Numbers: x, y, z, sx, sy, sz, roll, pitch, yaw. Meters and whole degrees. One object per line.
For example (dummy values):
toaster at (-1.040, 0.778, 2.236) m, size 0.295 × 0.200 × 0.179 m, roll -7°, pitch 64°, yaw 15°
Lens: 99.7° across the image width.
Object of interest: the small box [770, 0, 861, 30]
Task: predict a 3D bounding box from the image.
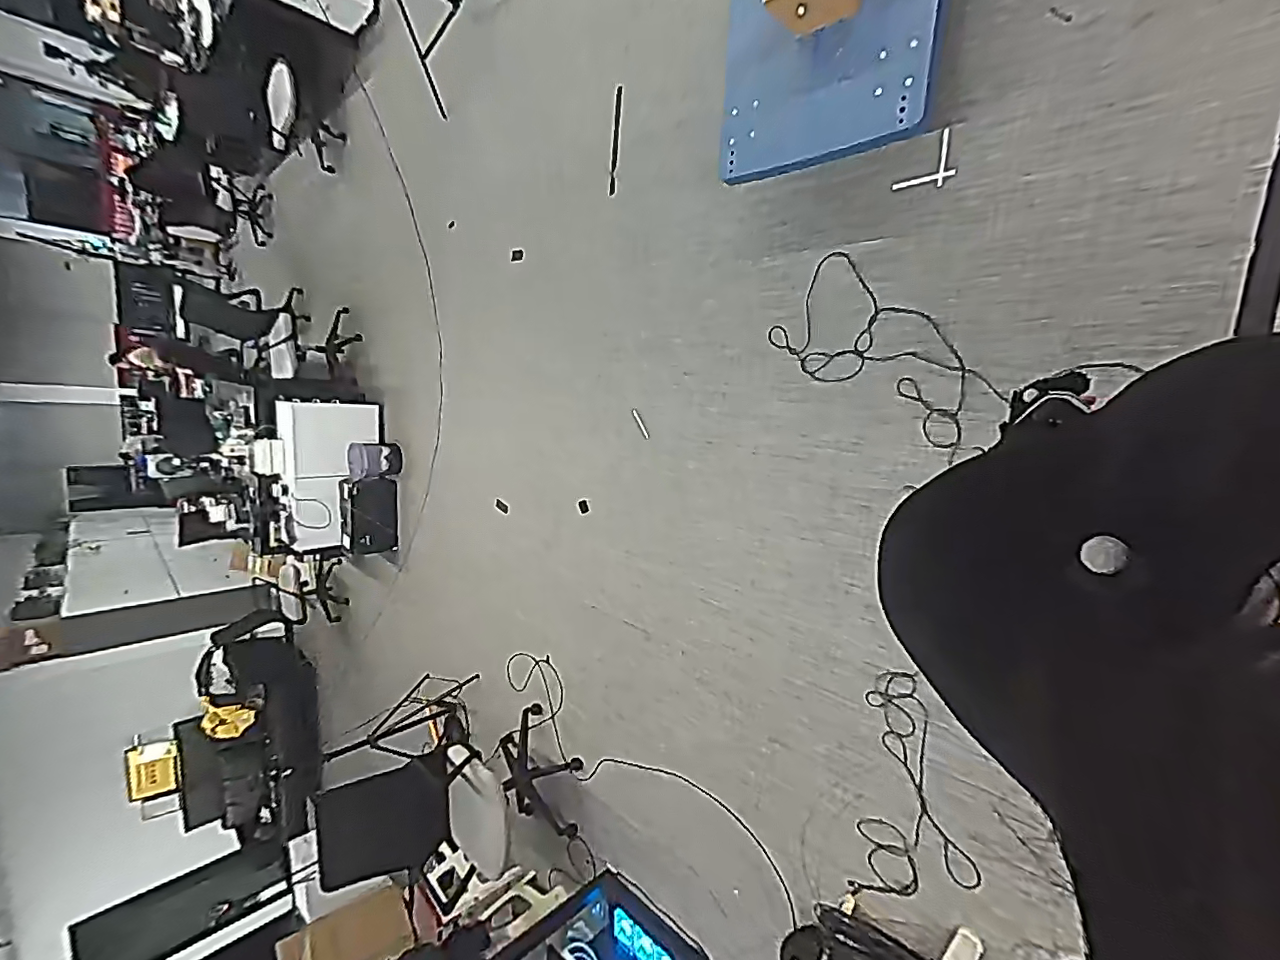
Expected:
small box at (0.426, -1.231, 1.289) m, size 0.179 × 0.176 × 0.168 m, roll 15°, pitch 105°, yaw 44°
